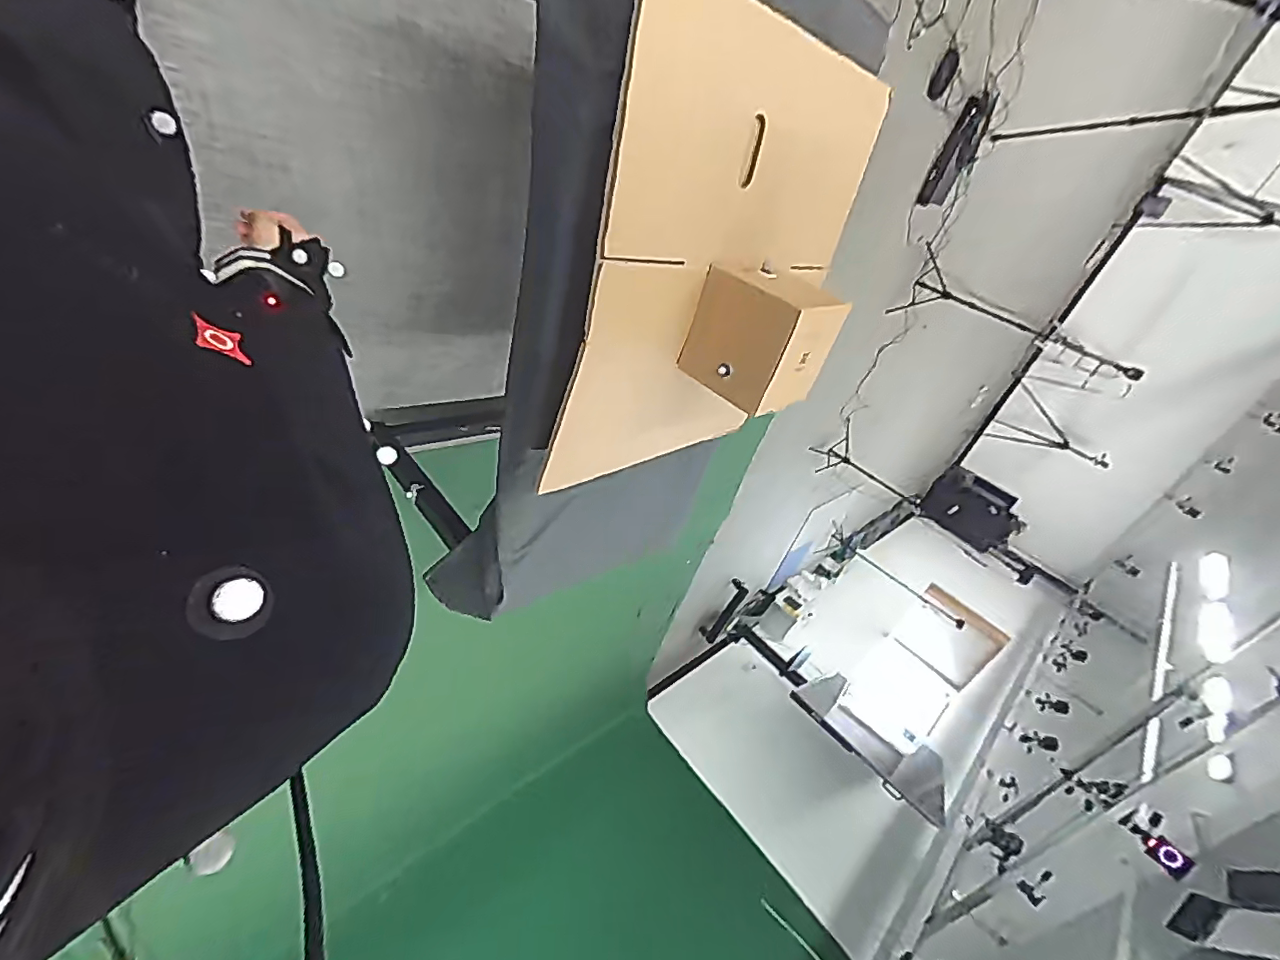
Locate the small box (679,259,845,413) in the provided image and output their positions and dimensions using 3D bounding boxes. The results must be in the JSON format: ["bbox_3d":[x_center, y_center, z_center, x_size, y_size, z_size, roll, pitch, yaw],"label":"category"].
[{"bbox_3d":[0.186,-0.234,0.867,0.168,0.176,0.179,-22,141,-43],"label":"small box"}]
